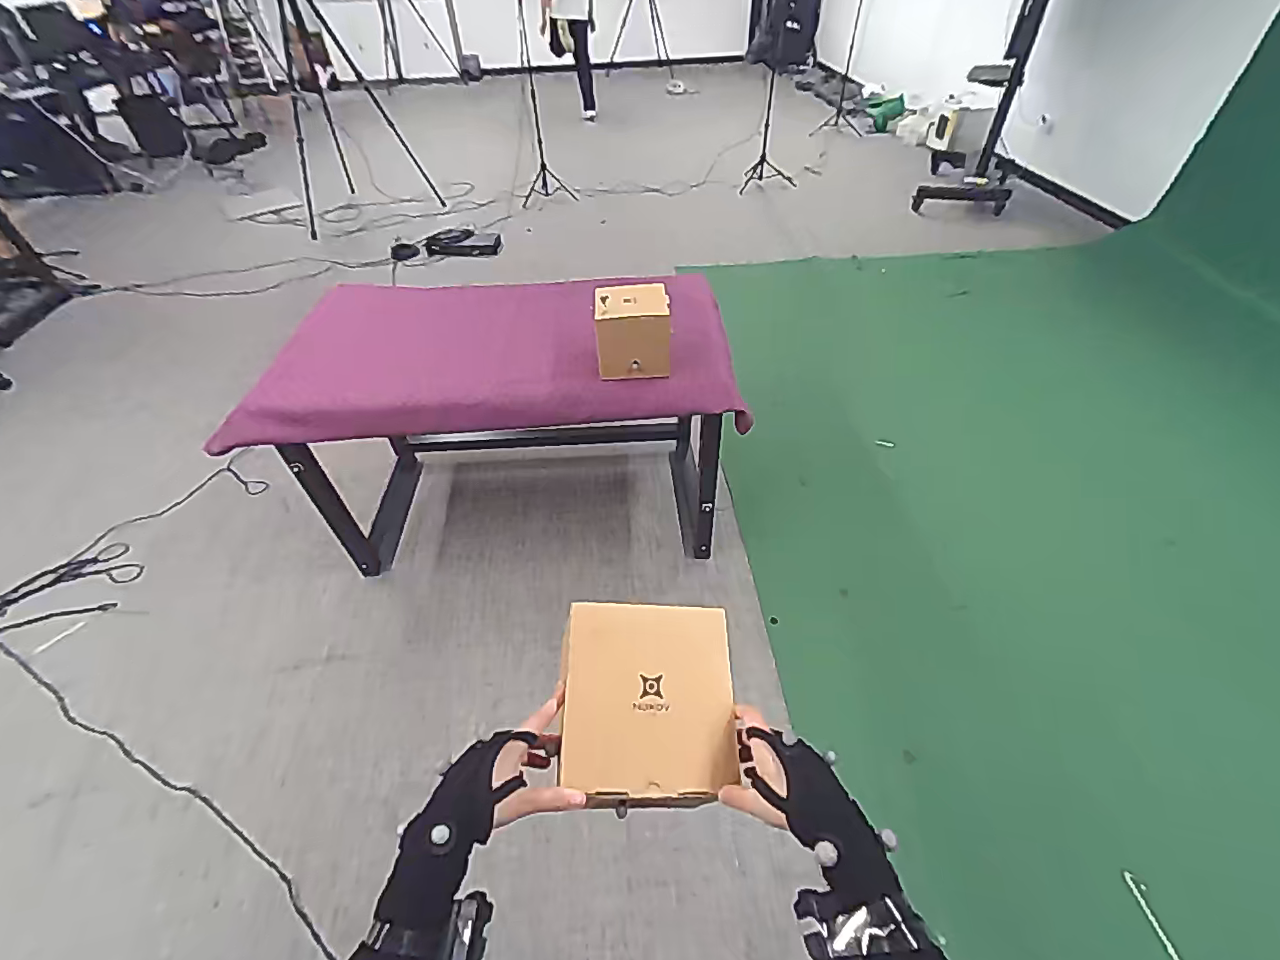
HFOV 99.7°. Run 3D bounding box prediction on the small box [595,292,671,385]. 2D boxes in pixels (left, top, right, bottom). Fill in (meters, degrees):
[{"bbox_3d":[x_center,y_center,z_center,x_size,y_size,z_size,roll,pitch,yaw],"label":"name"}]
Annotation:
[{"bbox_3d":[-0.016,-0.352,1.351,0.179,0.176,0.168,-3,42,0],"label":"small box"}]
